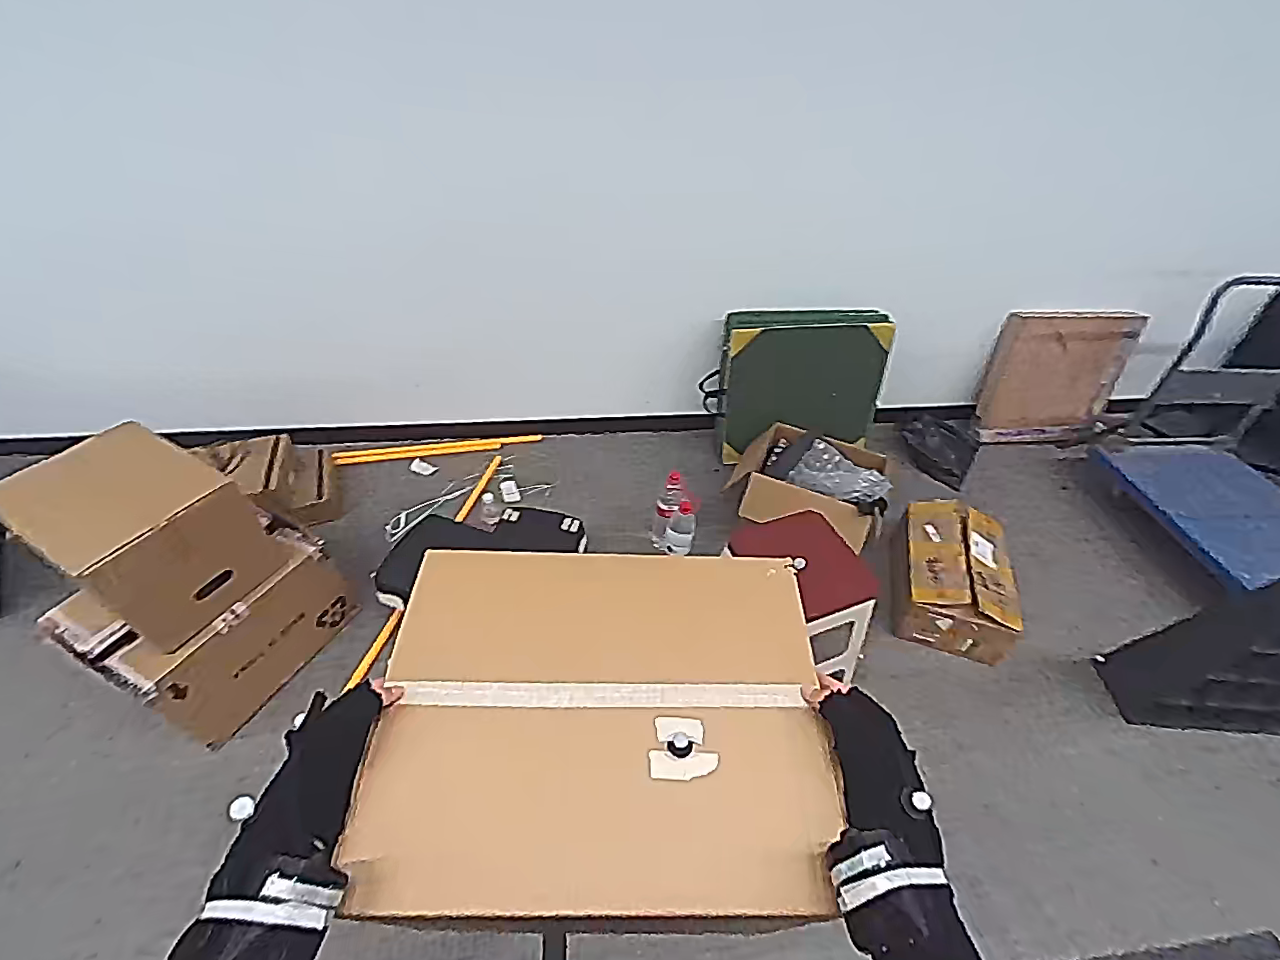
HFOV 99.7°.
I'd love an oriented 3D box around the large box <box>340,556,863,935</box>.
[{"bbox_3d":[-0.035,0.304,0.613,0.408,0.320,0.320,3,48,-2],"label":"large box"}]
